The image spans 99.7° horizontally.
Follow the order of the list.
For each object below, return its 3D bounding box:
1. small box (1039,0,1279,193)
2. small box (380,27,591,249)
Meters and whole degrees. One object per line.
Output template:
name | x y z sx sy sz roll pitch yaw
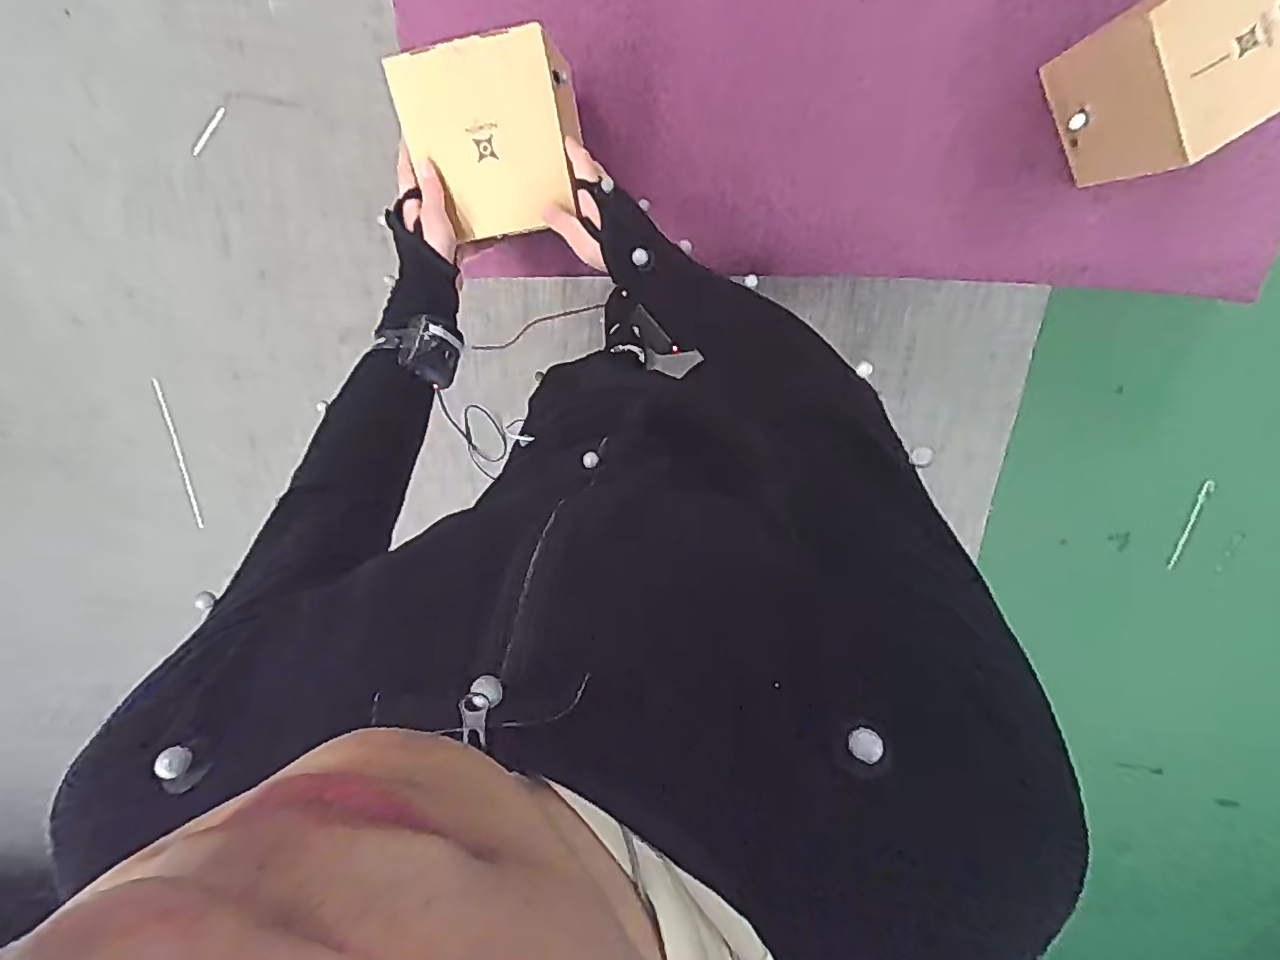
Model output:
small box | 0.627 -0.469 0.632 0.179 0.176 0.168 -31 108 12
small box | -0.159 -0.379 0.629 0.168 0.176 0.179 -8 114 7
